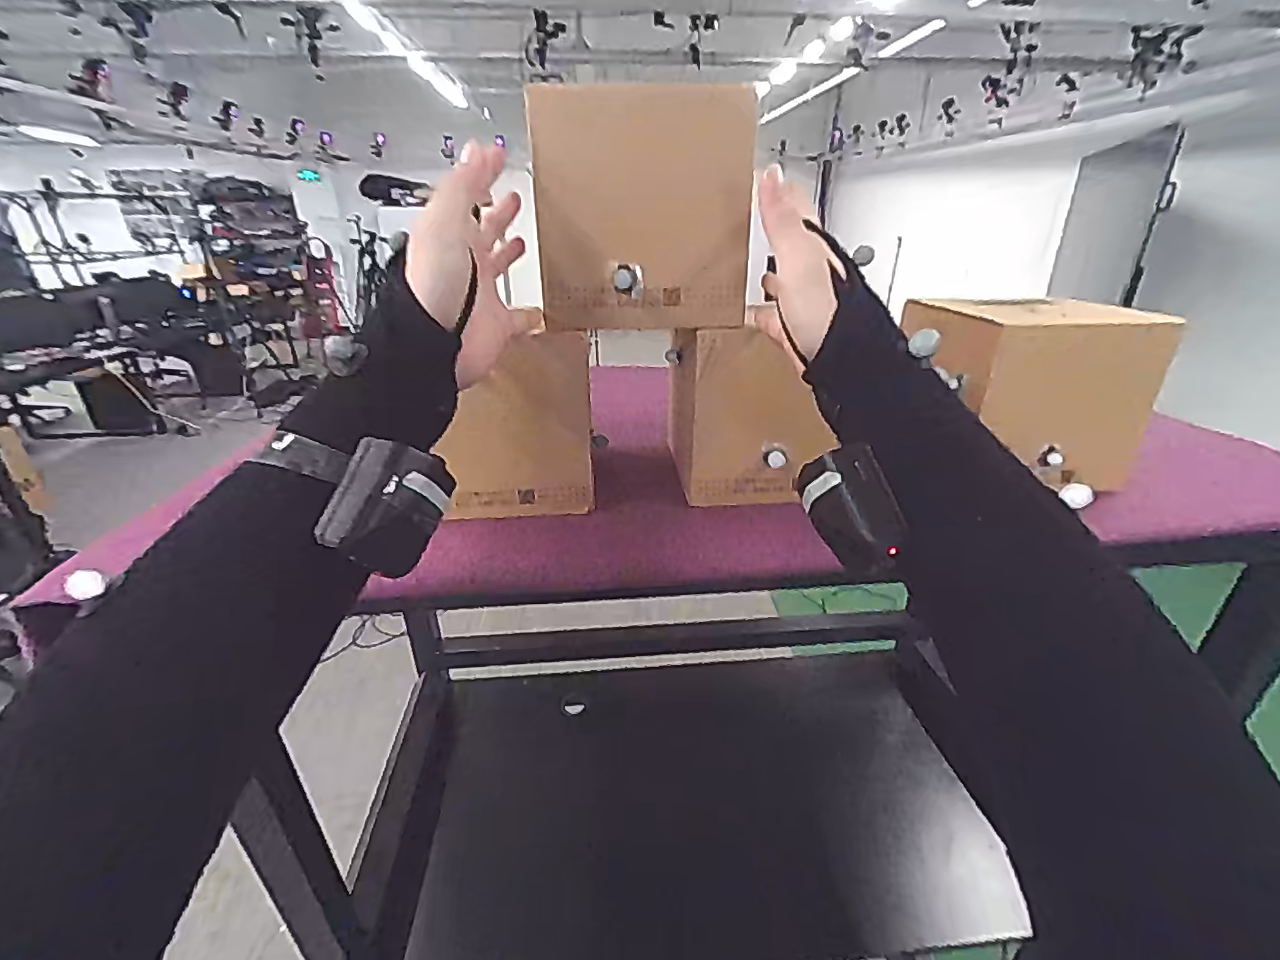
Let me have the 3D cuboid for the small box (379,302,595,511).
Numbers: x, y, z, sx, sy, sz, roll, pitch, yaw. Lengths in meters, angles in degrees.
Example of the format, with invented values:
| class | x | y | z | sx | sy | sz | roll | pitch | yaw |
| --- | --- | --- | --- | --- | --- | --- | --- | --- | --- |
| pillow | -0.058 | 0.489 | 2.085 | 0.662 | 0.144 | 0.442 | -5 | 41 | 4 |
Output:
| class | x | y | z | sx | sy | sz | roll | pitch | yaw |
| --- | --- | --- | --- | --- | --- | --- | --- | --- | --- |
| small box | -0.131 | -0.080 | 0.535 | 0.168 | 0.176 | 0.179 | -3 | 24 | -4 |

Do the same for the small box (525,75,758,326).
| class | x | y | z | sx | sy | sz | roll | pitch | yaw |
| --- | --- | --- | --- | --- | --- | --- | --- | --- | --- |
| small box | -0.001 | -0.235 | 0.481 | 0.168 | 0.176 | 0.179 | -2 | 25 | -2 |

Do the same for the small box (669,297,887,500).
| class | x | y | z | sx | sy | sz | roll | pitch | yaw |
| --- | --- | --- | --- | --- | --- | --- | --- | --- | --- |
| small box | 0.121 | -0.090 | 0.556 | 0.168 | 0.176 | 0.179 | -2 | 26 | -4 |
